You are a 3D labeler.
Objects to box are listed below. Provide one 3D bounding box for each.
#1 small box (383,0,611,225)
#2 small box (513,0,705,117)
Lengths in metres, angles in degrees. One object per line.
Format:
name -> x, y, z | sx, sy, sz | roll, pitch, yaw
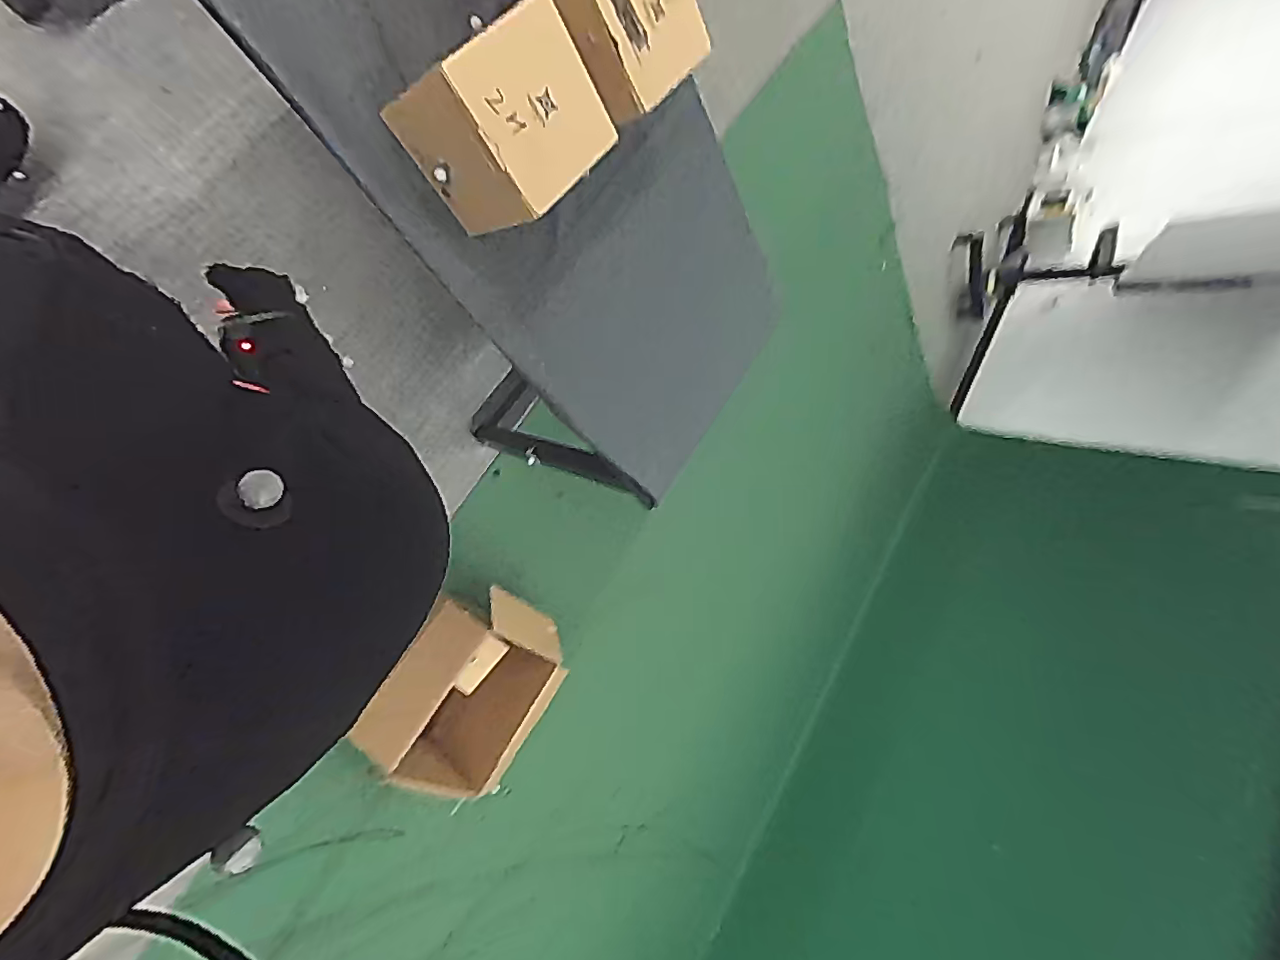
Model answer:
small box -> -0.175, -0.443, 0.664 | 0.179, 0.176, 0.168 | -55, 133, -19
small box -> -0.048, -0.618, 0.739 | 0.179, 0.176, 0.168 | -54, 134, -20
